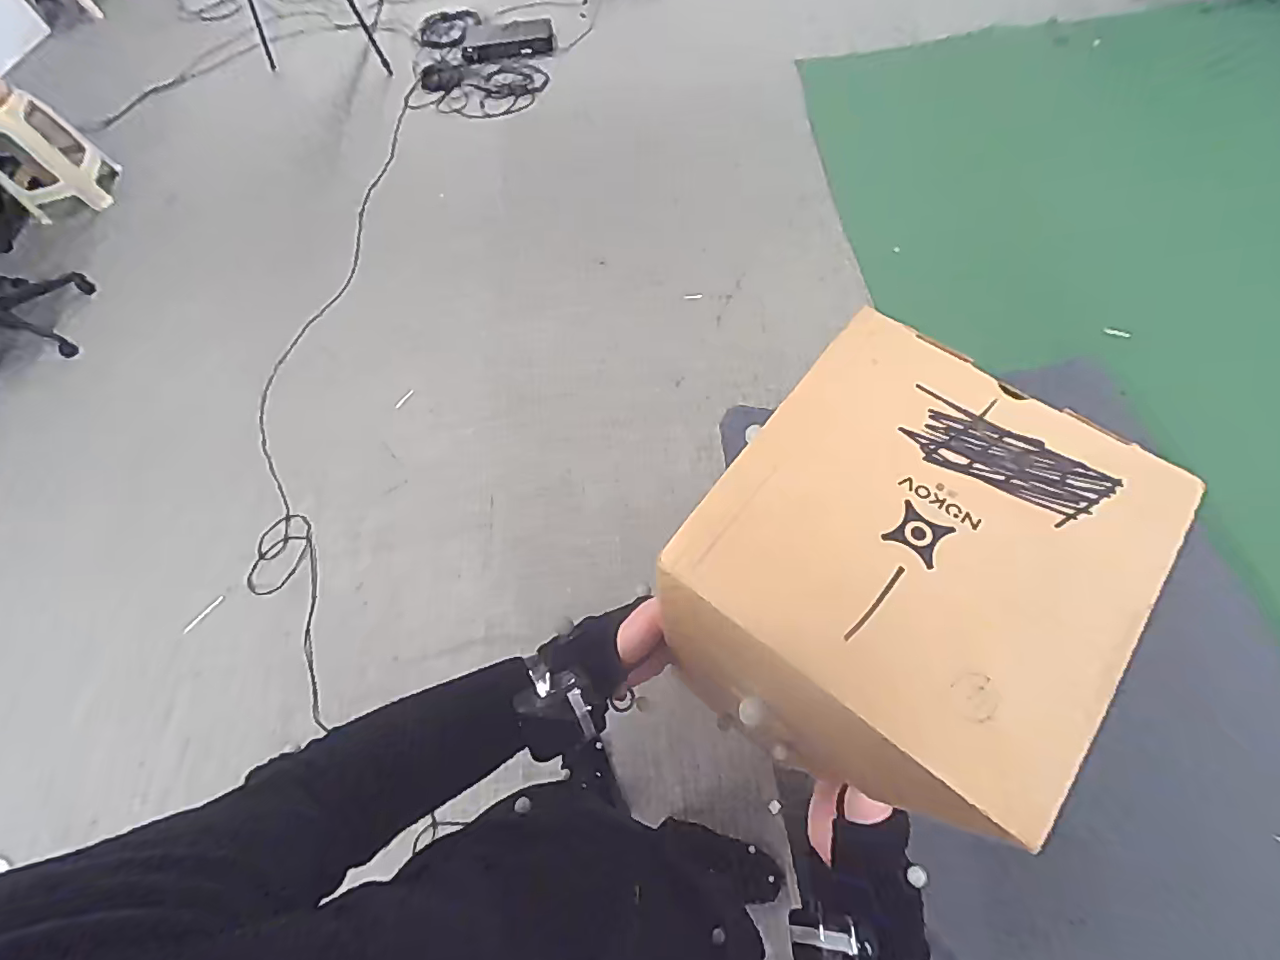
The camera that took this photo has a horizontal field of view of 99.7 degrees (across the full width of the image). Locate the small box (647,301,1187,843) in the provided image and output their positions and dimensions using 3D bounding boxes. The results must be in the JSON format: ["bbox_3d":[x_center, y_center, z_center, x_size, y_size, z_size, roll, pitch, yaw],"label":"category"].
[{"bbox_3d":[0.120,0.047,0.301,0.168,0.176,0.179,36,74,18],"label":"small box"}]
